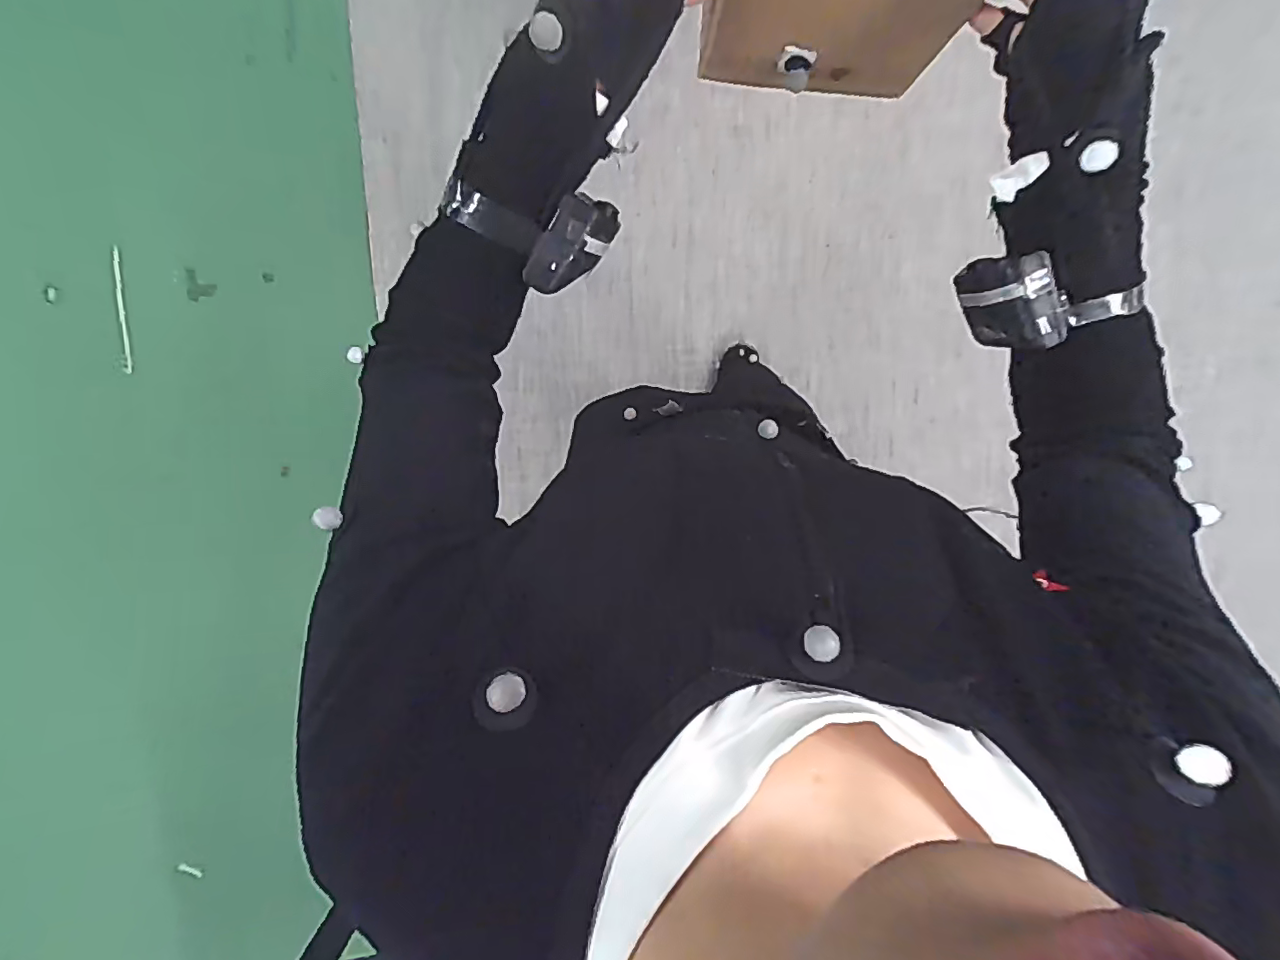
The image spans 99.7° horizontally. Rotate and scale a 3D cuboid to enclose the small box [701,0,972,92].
[{"bbox_3d":[0.134,-0.390,0.337,0.168,0.176,0.179,4,98,-1],"label":"small box"}]
